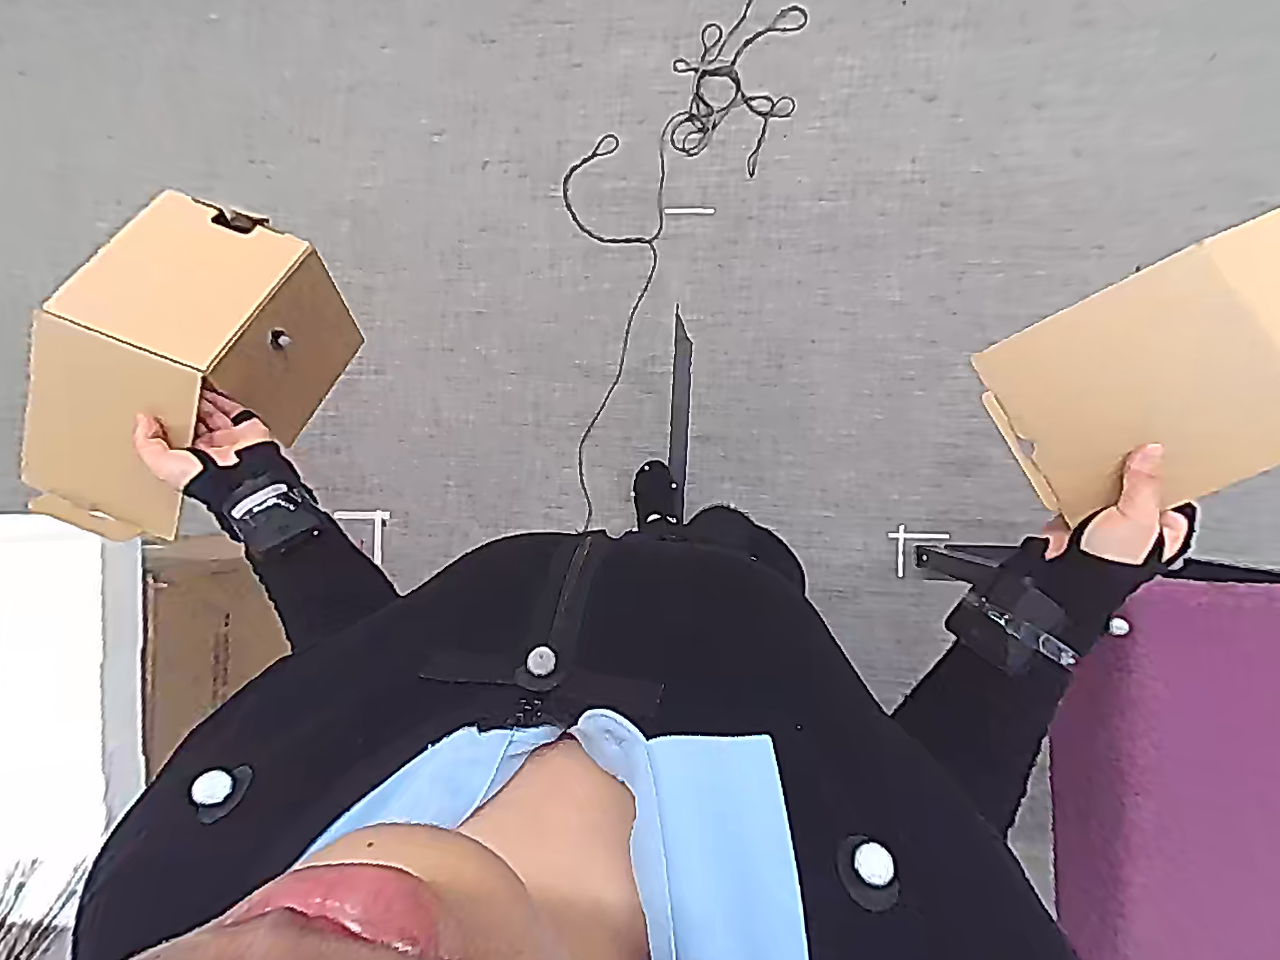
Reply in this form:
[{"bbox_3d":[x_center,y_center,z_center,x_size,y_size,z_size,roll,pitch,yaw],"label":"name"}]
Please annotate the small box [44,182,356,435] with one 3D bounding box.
[{"bbox_3d":[-0.452,-0.176,0.597,0.168,0.176,0.179,22,66,0],"label":"small box"}]
